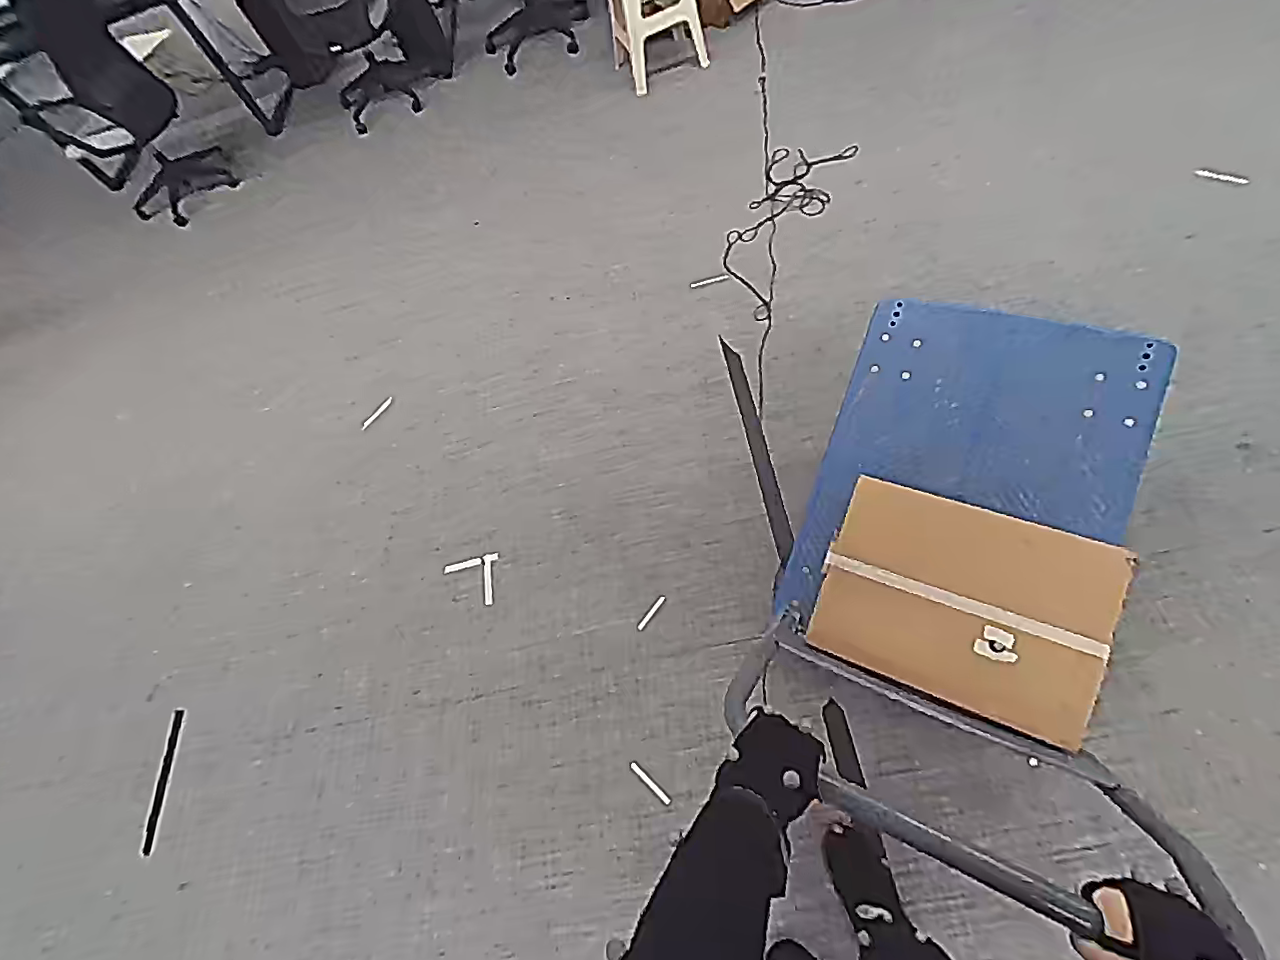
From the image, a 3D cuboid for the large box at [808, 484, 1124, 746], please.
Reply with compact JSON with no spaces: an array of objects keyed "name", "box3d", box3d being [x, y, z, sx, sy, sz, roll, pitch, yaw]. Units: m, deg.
[{"name":"large box","box3d":[0.563,0.229,1.024,0.408,0.320,0.320,18,87,22]}]
